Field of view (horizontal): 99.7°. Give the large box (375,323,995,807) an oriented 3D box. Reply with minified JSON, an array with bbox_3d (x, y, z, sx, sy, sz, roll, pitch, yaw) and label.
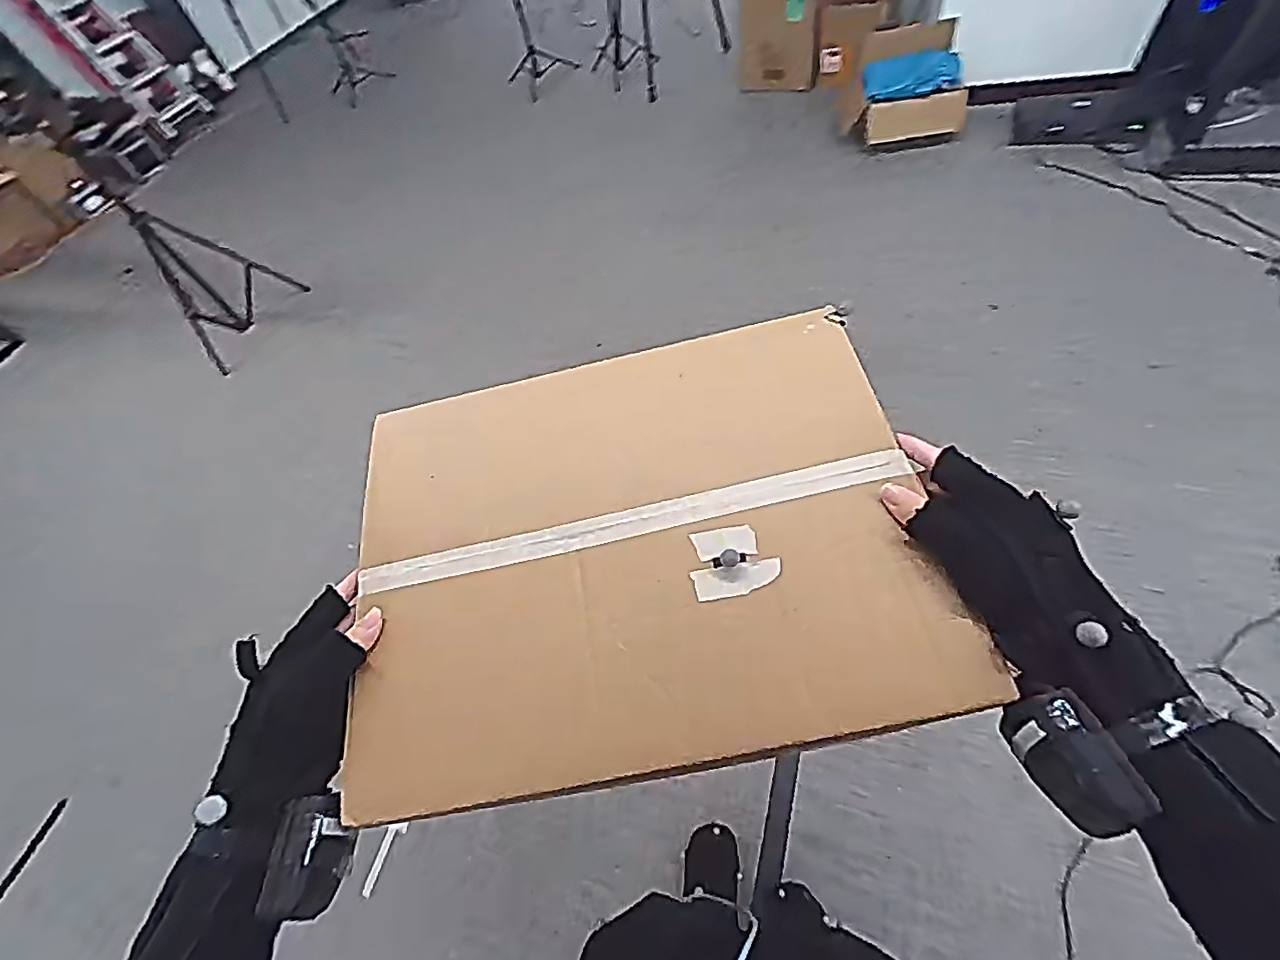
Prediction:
[{"bbox_3d":[0.020,0.105,0.536,0.408,0.320,0.320,-12,61,3],"label":"large box"}]
